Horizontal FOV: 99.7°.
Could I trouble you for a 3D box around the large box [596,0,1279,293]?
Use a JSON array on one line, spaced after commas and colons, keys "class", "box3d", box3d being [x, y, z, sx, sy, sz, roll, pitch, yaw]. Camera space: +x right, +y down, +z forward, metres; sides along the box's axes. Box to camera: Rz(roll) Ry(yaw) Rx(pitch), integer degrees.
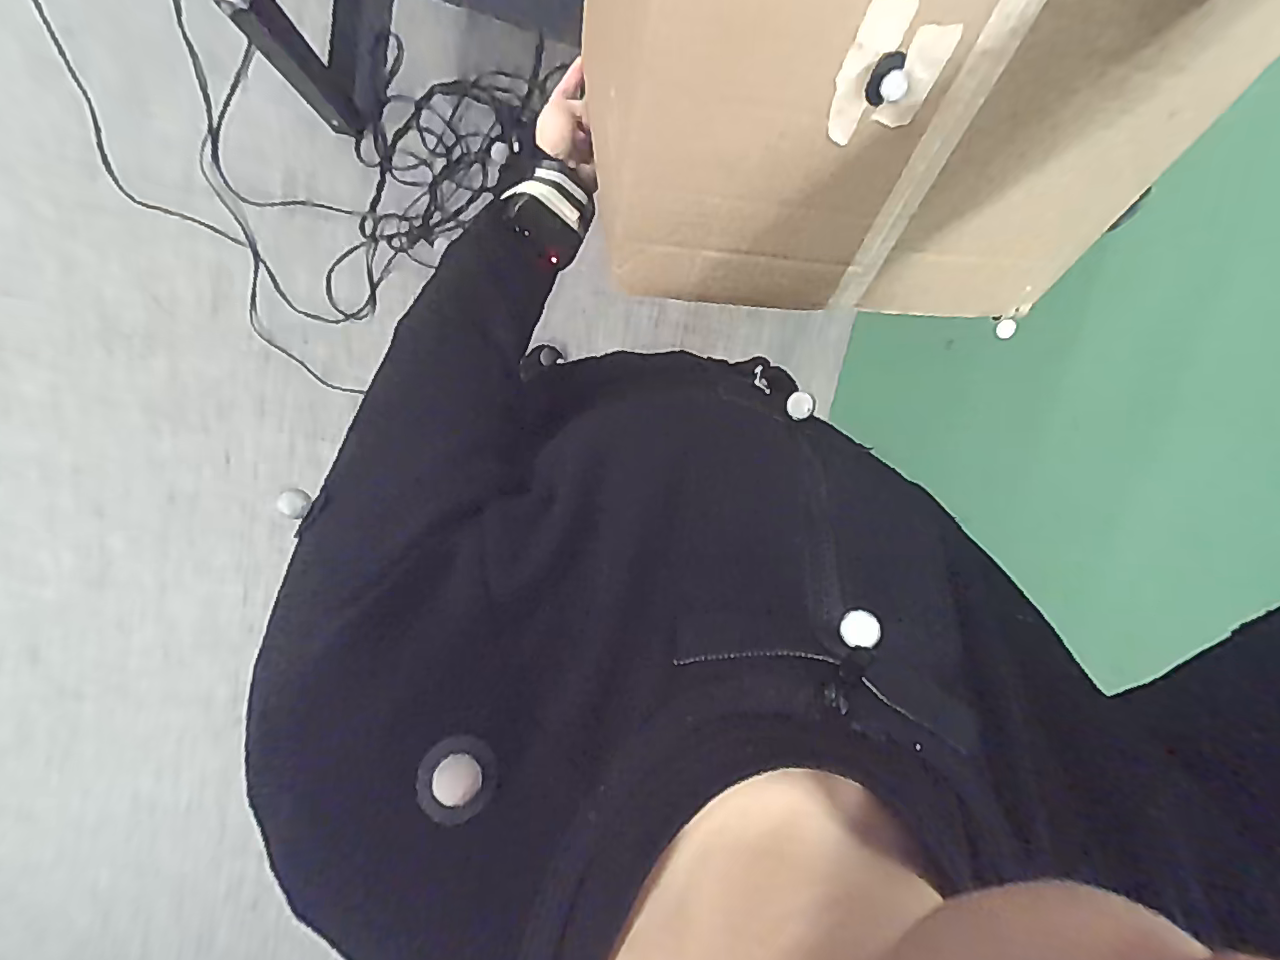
[{"class": "large box", "box3d": [0.154, -0.370, 0.295, 0.320, 0.408, 0.320, -1, 60, -11]}]
